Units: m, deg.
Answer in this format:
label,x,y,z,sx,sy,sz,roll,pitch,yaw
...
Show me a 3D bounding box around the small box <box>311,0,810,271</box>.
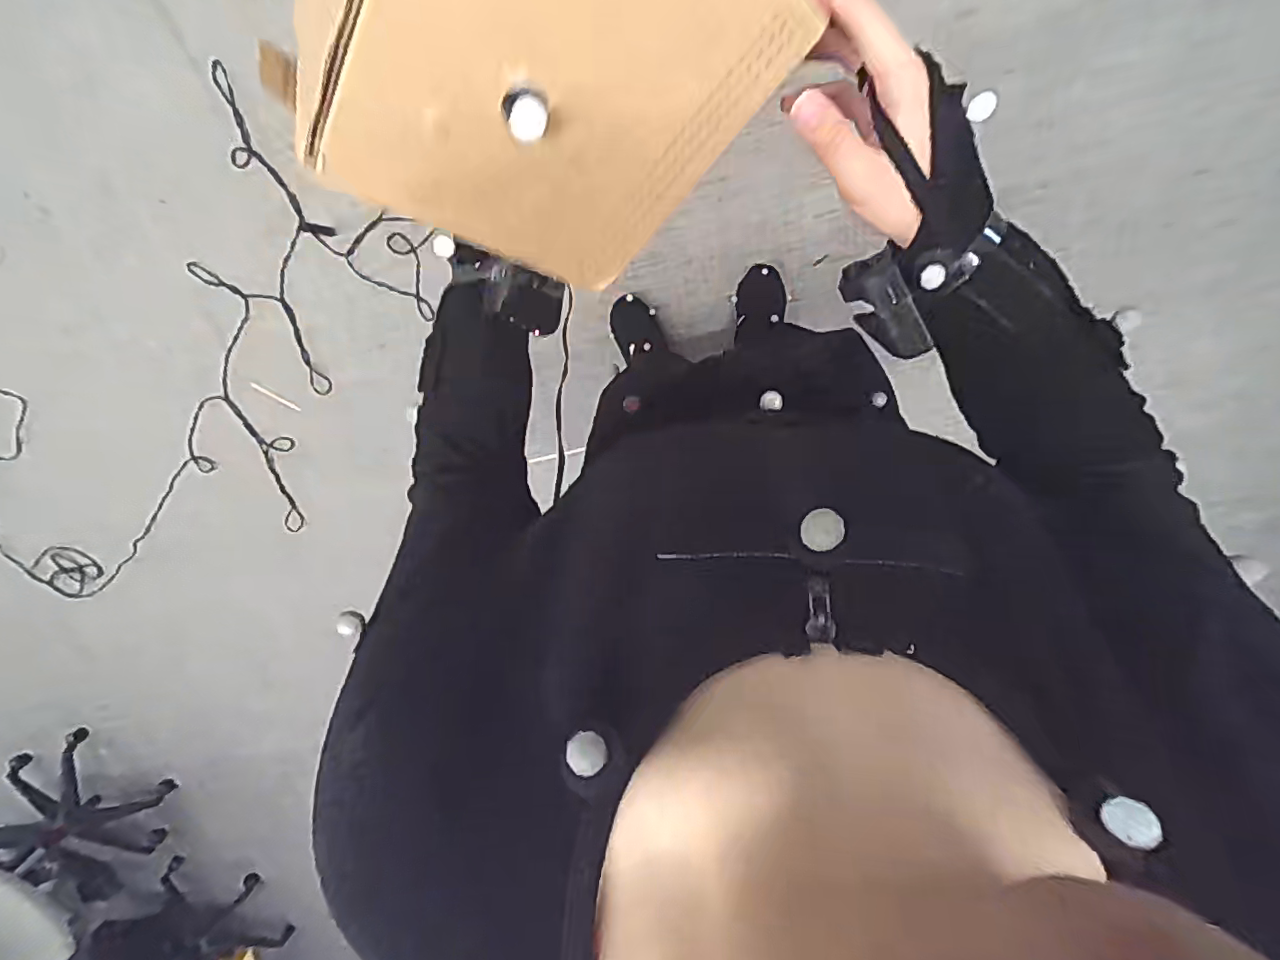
label,x,y,z,sx,sy,sz,roll,pitch,yaw
small box,-0.048,-0.242,0.274,0.176,0.168,0.179,6,145,-44
